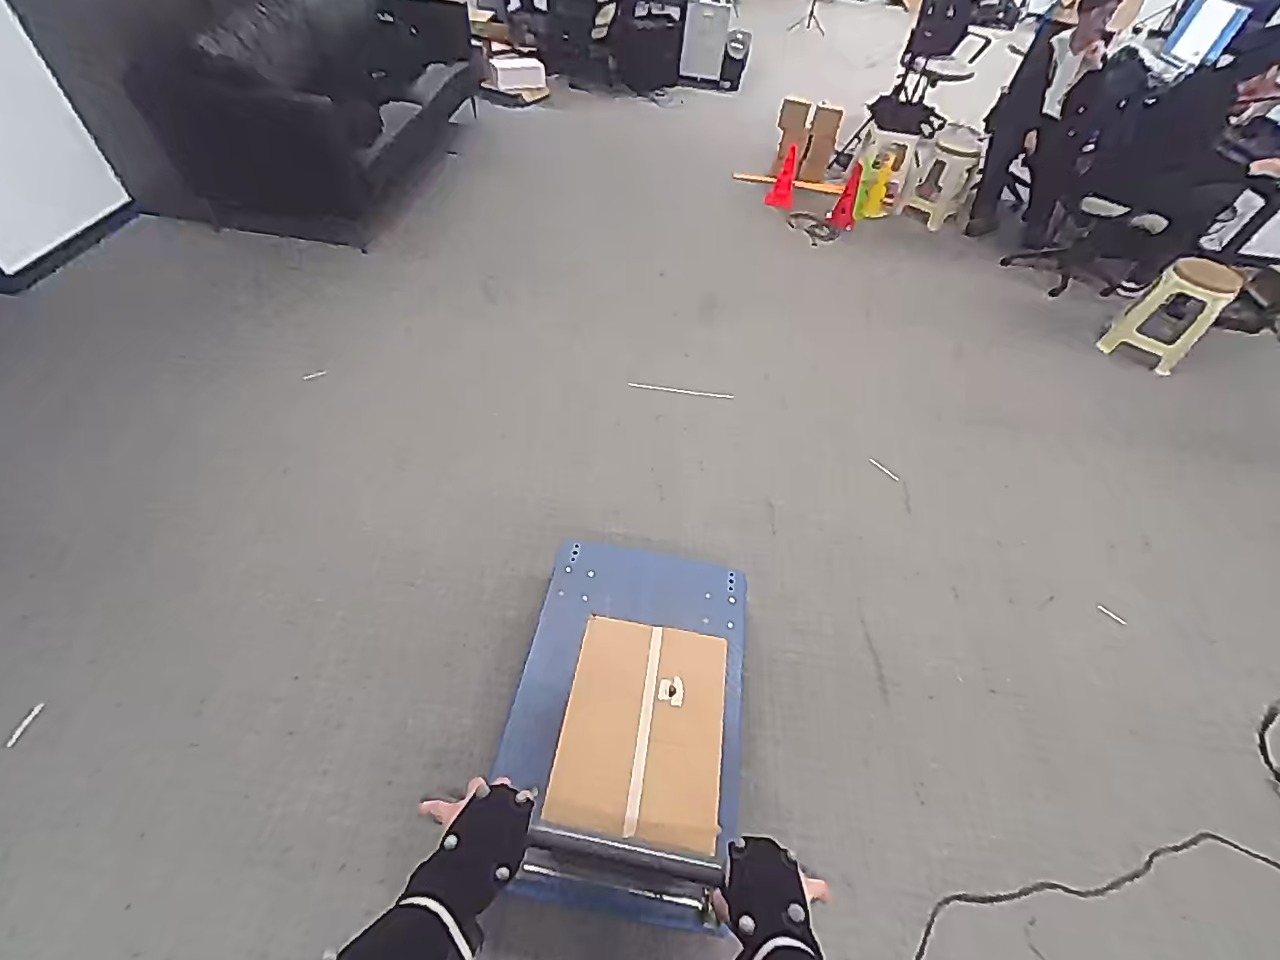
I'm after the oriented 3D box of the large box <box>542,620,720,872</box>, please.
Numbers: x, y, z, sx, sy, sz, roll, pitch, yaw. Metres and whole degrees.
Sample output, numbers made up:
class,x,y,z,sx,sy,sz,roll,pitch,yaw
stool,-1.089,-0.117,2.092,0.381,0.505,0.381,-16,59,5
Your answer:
class,x,y,z,sx,sy,sz,roll,pitch,yaw
large box,-0.011,0.580,1.184,0.320,0.320,0.408,10,48,1
